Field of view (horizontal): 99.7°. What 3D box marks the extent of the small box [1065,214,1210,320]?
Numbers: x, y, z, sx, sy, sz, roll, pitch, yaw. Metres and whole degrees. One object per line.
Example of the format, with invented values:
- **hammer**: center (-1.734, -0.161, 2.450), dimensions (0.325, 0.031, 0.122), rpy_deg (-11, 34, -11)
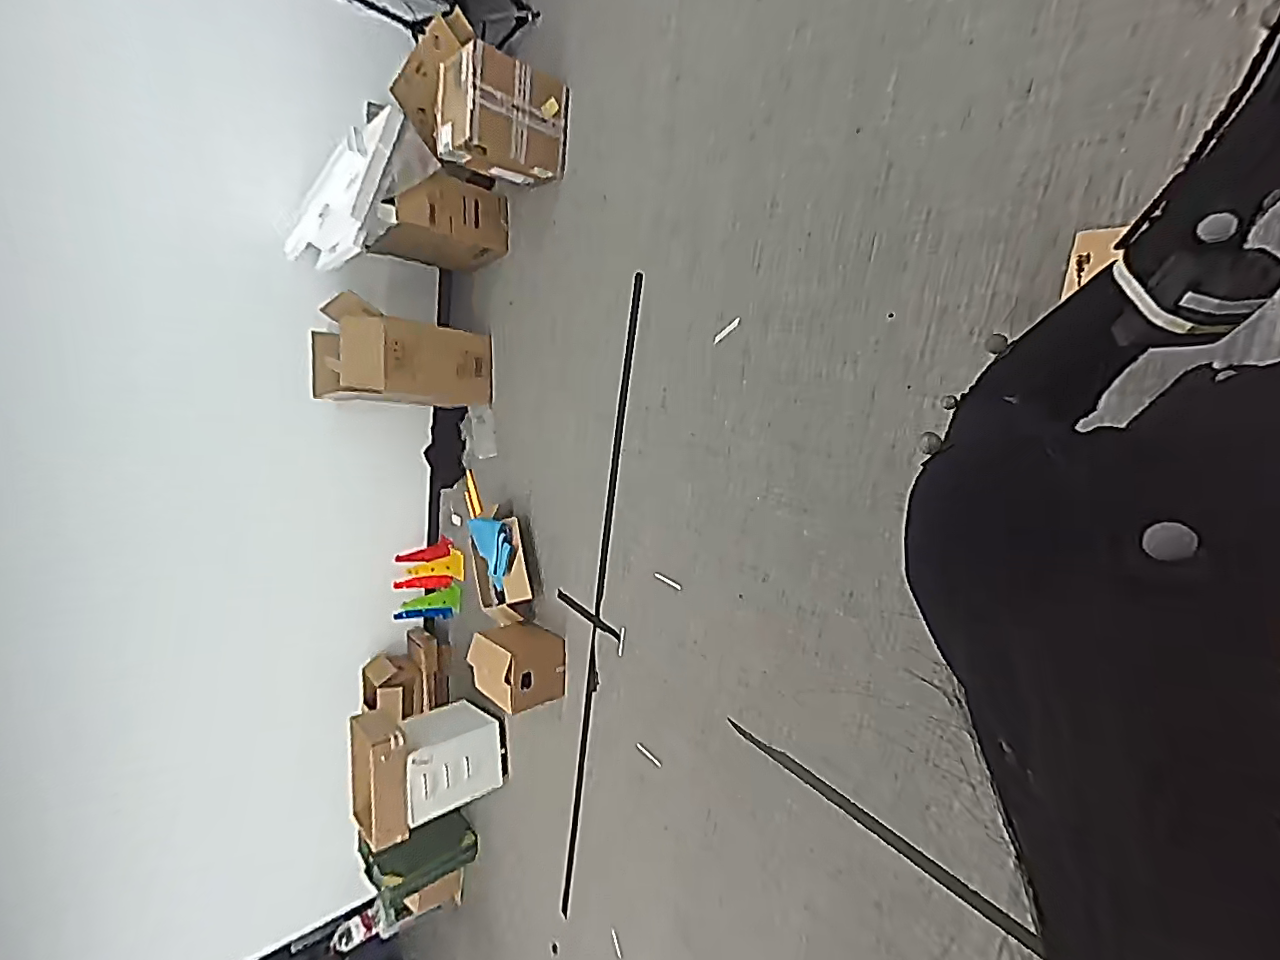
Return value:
- **small box**: center (0.995, -0.417, 1.081), dimensions (0.179, 0.176, 0.168), rpy_deg (19, 107, 46)
